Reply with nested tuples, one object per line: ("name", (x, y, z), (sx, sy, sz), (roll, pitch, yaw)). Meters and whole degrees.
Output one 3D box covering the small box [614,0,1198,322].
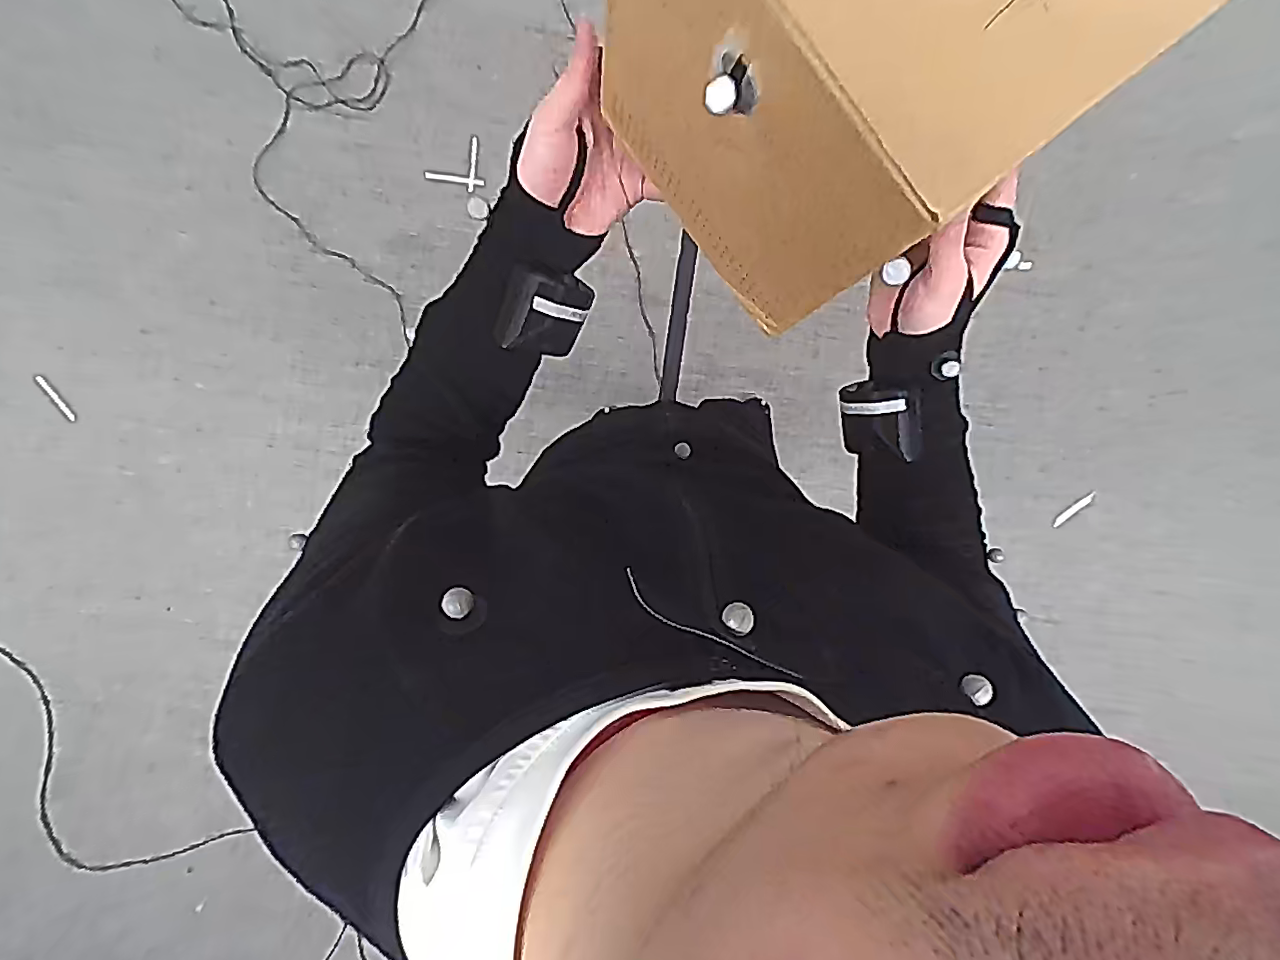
("small box", (0.099, -0.209, 0.269), (0.168, 0.176, 0.179), (-39, 95, -3))
